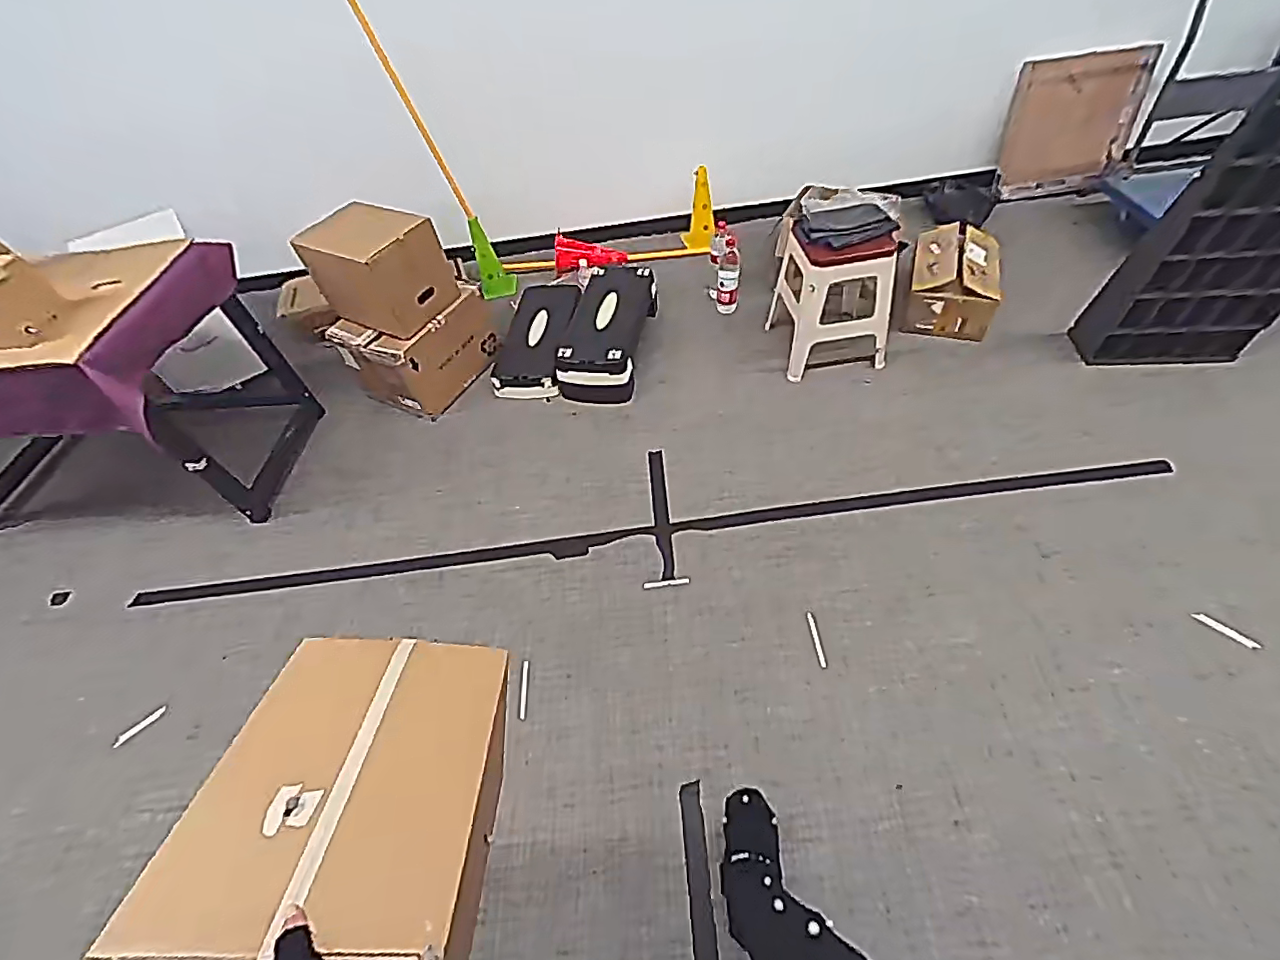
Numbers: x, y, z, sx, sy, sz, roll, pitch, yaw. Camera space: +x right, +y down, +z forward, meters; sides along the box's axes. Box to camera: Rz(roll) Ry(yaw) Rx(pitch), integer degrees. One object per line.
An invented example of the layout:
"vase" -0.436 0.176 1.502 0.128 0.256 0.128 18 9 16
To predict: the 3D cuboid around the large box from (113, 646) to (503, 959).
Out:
"large box" -0.379 0.497 0.760 0.320 0.320 0.408 5 27 -7
